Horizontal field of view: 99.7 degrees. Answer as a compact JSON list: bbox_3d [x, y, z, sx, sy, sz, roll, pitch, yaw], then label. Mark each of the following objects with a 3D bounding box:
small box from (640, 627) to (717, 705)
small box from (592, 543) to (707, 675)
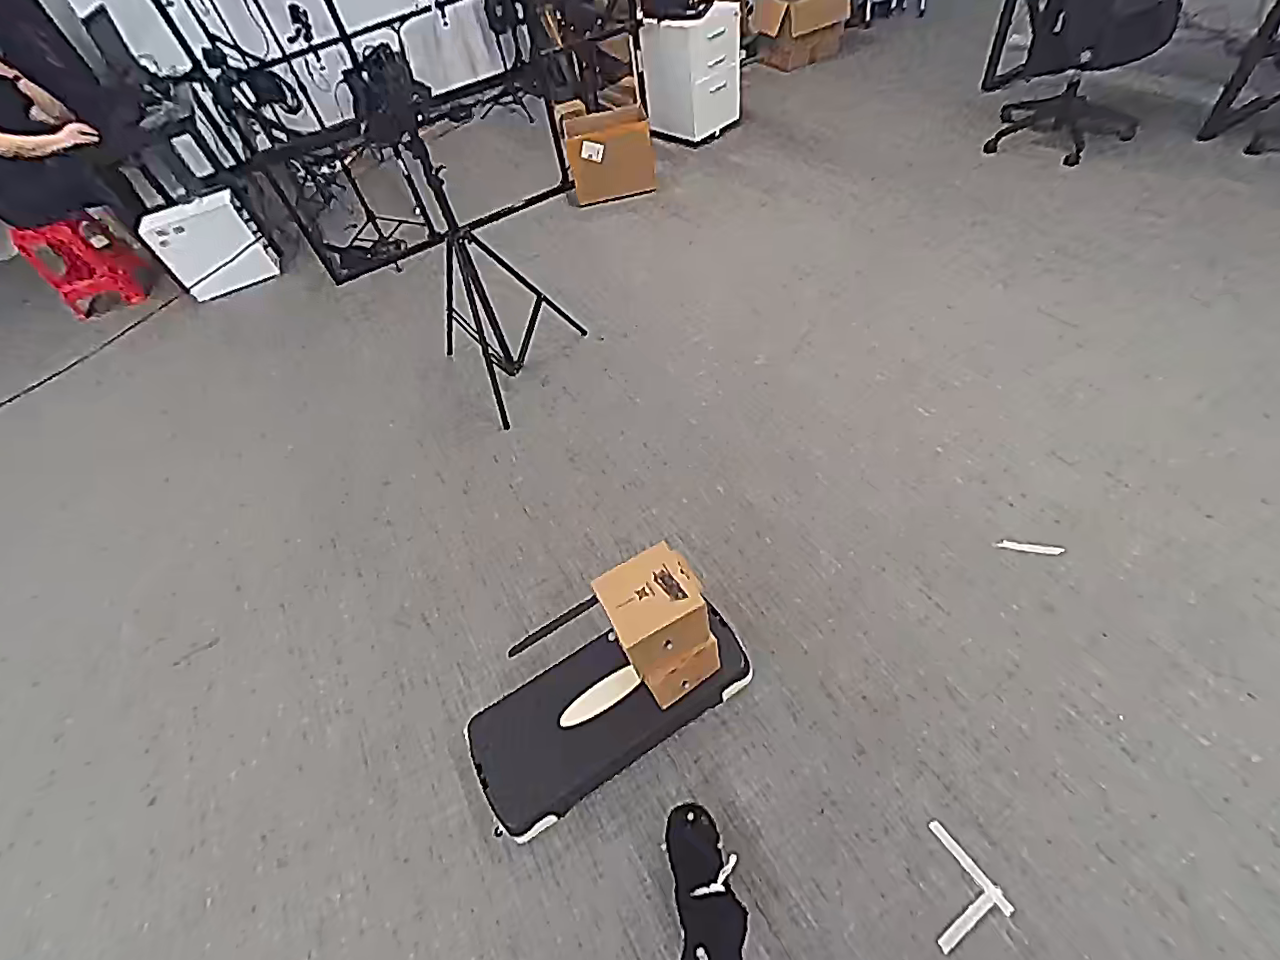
[{"bbox_3d":[0.060,0.375,1.229,0.168,0.176,0.179,-31,54,-14],"label":"small box"},{"bbox_3d":[0.025,0.267,1.109,0.179,0.176,0.168,-27,53,-10],"label":"small box"}]
